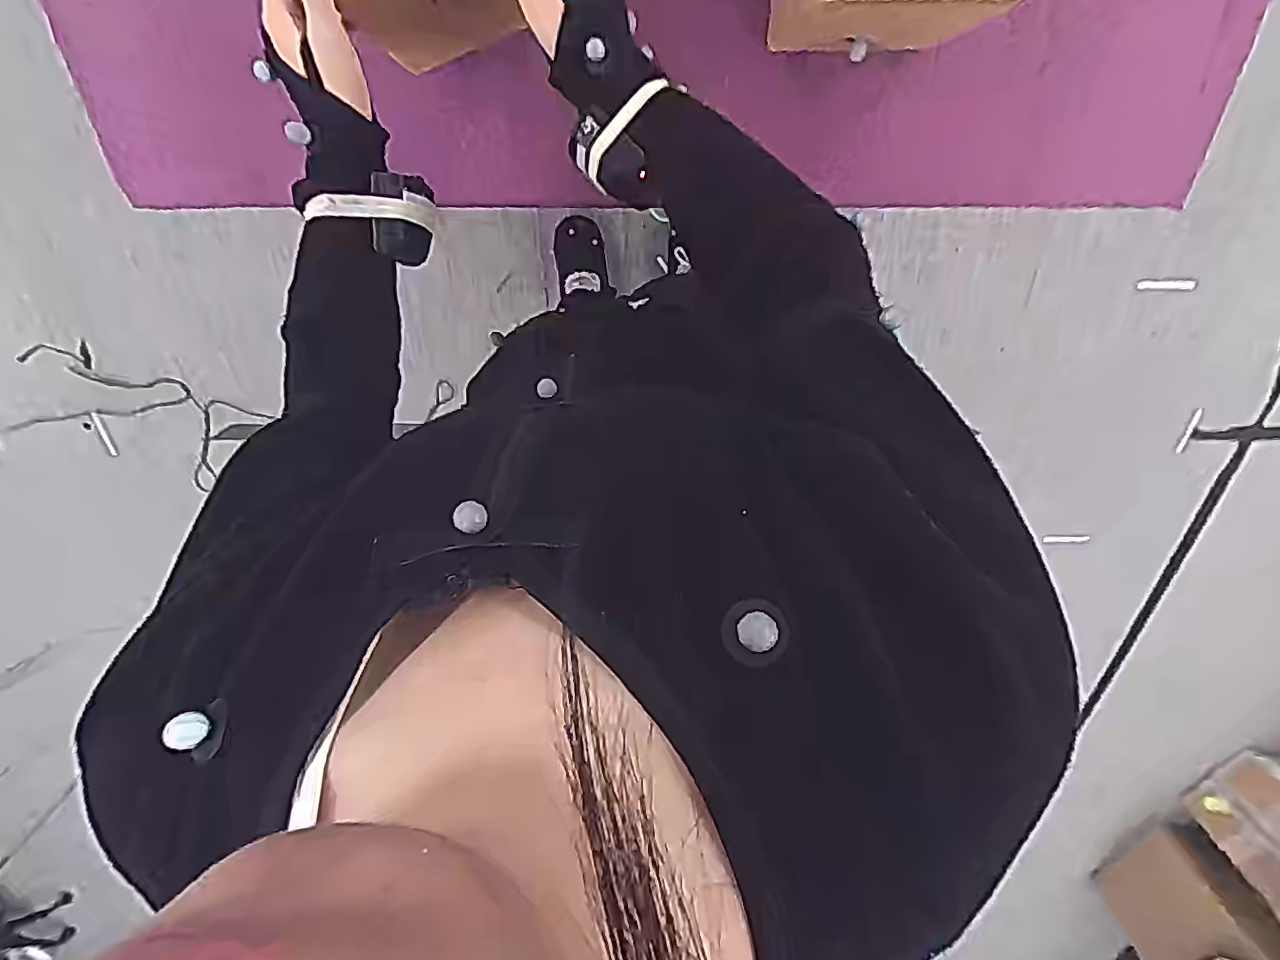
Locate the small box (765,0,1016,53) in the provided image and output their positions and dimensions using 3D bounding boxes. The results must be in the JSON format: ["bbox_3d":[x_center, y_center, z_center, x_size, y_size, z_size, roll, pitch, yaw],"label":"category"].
[{"bbox_3d":[0.208,-0.481,0.445,0.168,0.176,0.179,-1,119,-1],"label":"small box"}]

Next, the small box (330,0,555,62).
[{"bbox_3d":[-0.163,-0.459,0.399,0.179,0.176,0.168,-15,108,10],"label":"small box"}]
